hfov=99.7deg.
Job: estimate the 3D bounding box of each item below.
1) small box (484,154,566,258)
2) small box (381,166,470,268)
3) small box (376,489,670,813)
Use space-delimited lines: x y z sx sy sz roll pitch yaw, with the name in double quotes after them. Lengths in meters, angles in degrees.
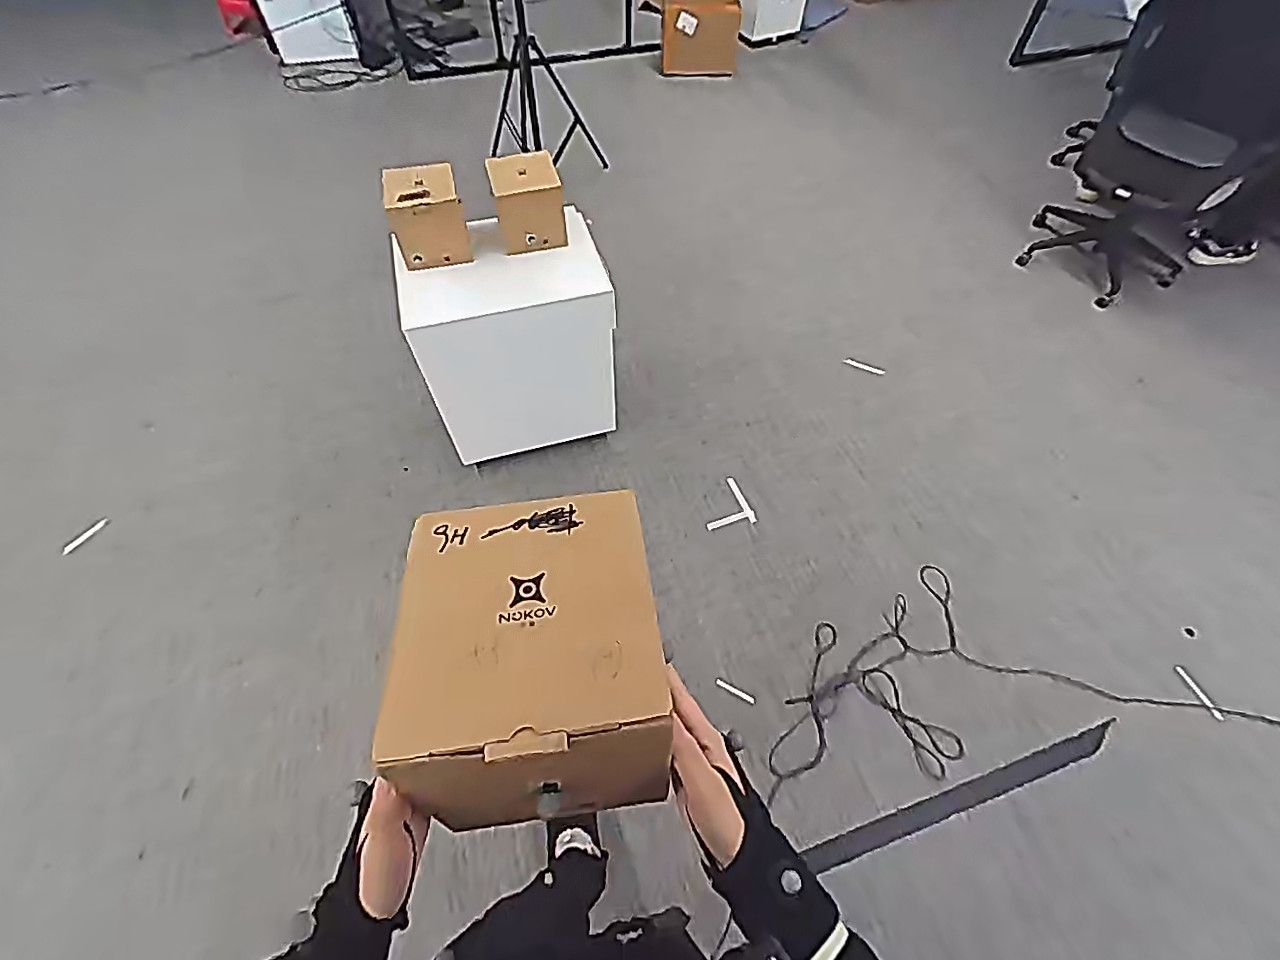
-0.295 -0.709 1.405 0.168 0.176 0.179 -15 60 -9 "small box"
-0.535 -0.653 1.361 0.168 0.176 0.179 -13 58 -10 "small box"
-0.070 0.132 0.407 0.168 0.176 0.179 -6 48 -5 "small box"
